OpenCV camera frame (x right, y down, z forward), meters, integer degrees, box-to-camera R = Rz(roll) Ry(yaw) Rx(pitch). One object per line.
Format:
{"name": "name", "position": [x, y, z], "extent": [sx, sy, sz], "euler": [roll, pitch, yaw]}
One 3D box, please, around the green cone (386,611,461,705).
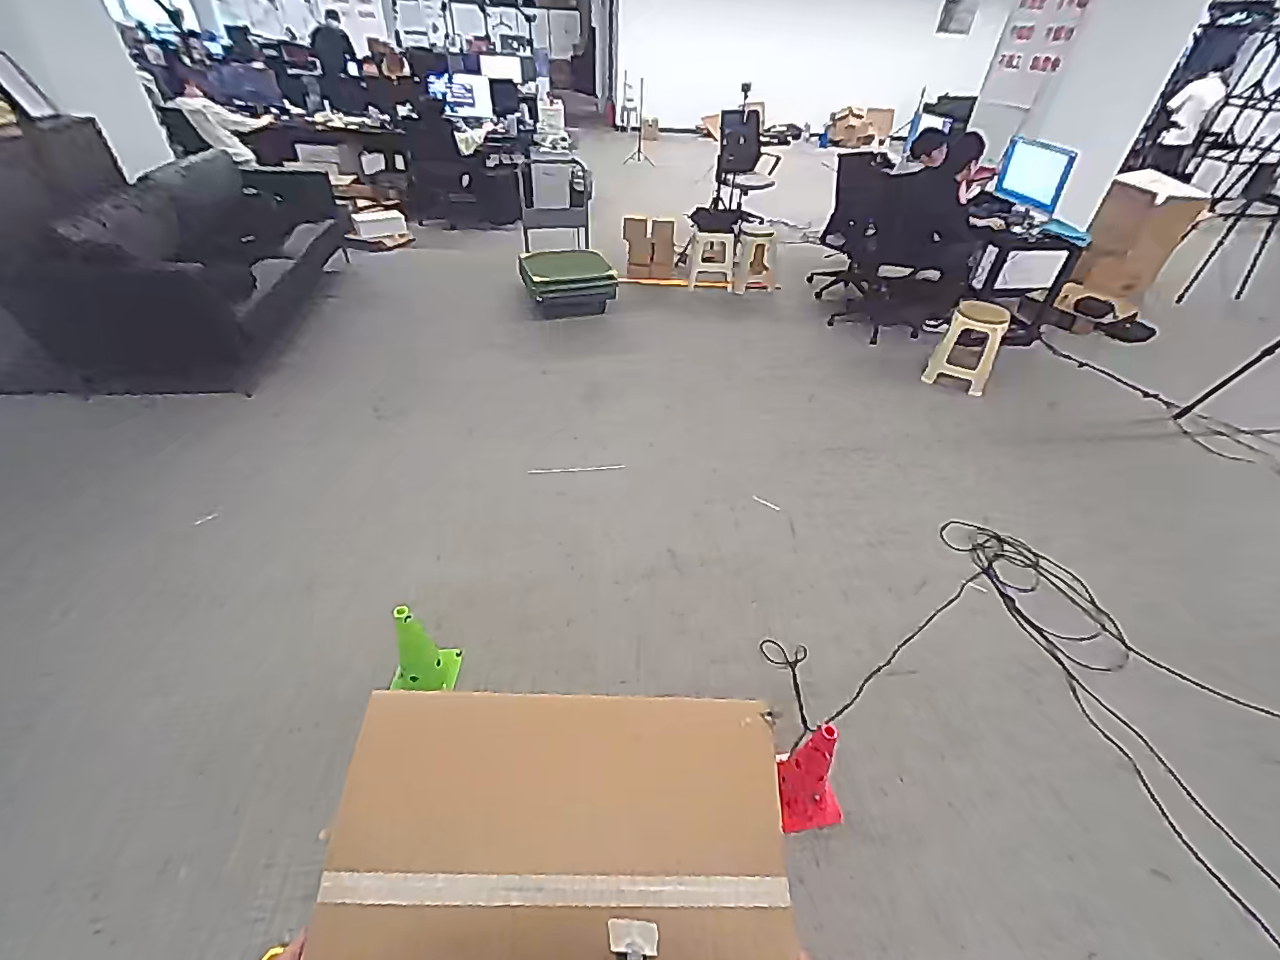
{"name": "green cone", "position": [-0.695, 0.517, 1.645], "extent": [0.200, 0.368, 0.202], "euler": [1, 42, -2]}

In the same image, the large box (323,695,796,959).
{"name": "large box", "position": [-0.074, 0.435, 0.607], "extent": [0.408, 0.320, 0.320], "euler": [2, 59, -3]}
